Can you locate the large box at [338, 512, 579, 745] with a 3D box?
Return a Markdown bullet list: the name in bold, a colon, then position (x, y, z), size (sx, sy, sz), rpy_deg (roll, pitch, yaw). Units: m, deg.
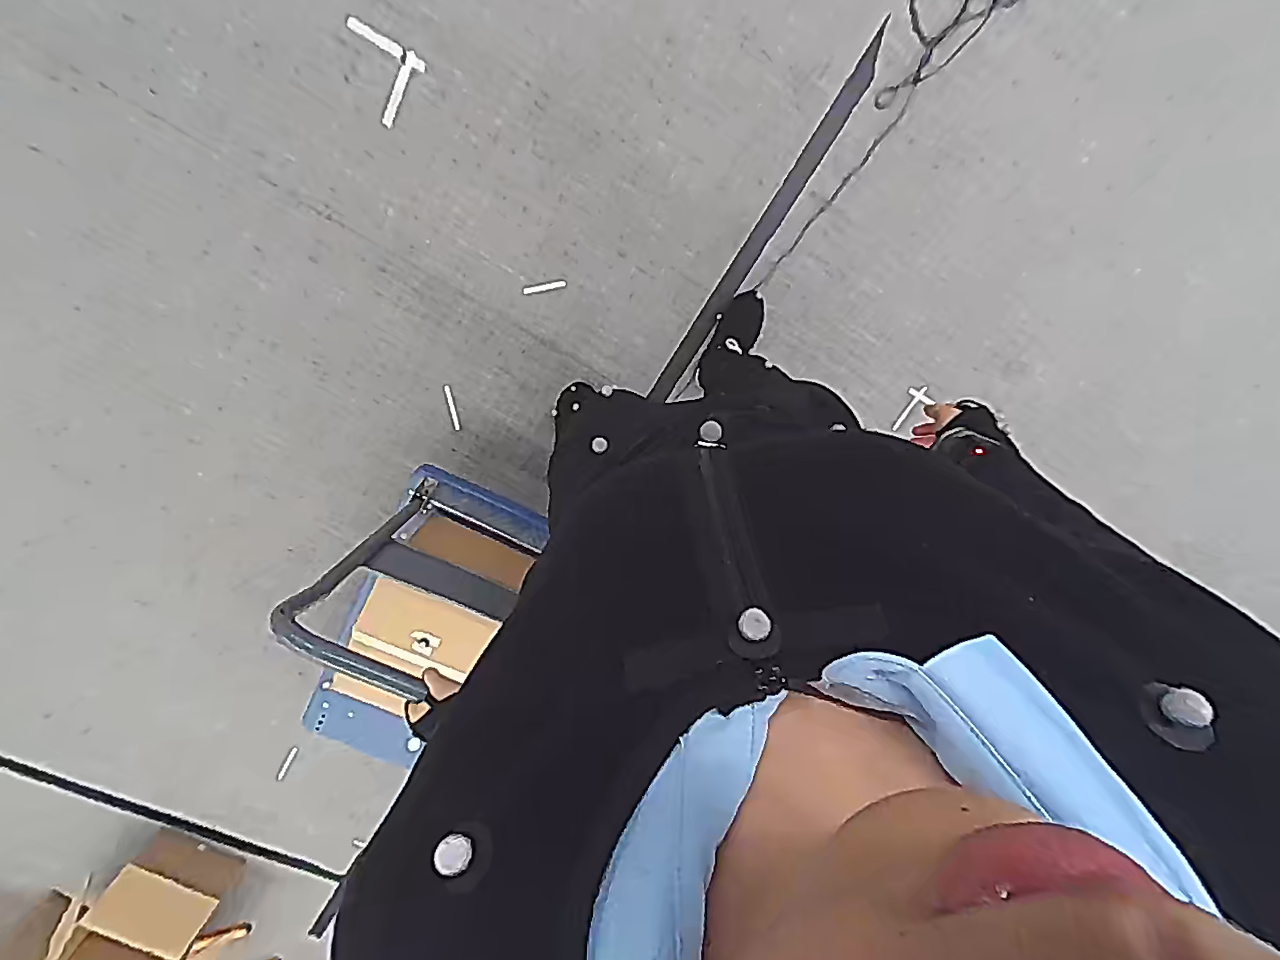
- **large box**: position (-0.396, 0.335, 1.275), size (0.408, 0.320, 0.320), rpy_deg (27, 104, -9)
